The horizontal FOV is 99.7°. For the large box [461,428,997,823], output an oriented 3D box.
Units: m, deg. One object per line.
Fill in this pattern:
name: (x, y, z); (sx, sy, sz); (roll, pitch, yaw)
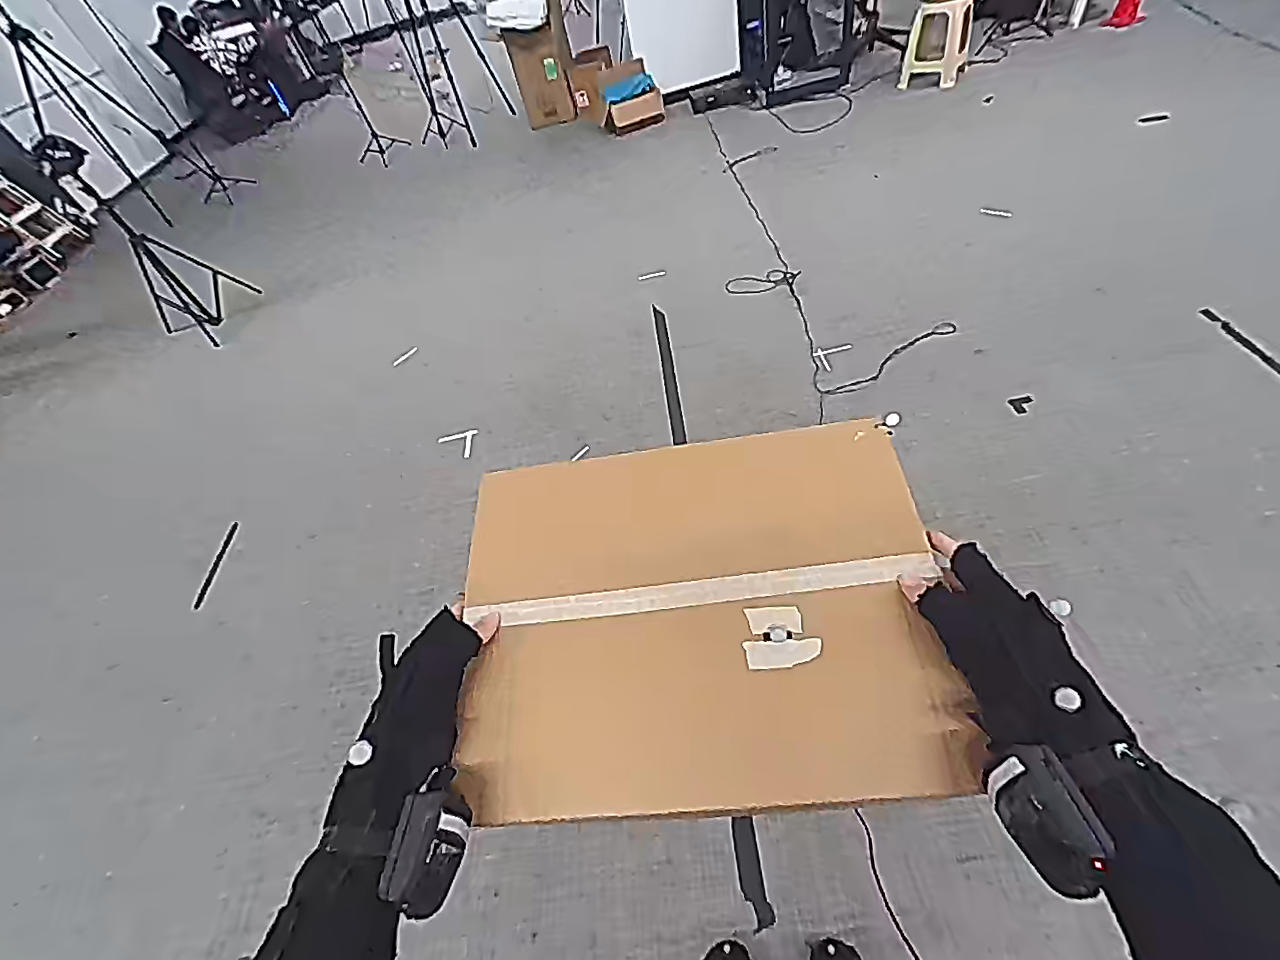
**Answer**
large box: (0.069, 0.181, 0.599); (0.408, 0.320, 0.320); (-8, 57, 6)
